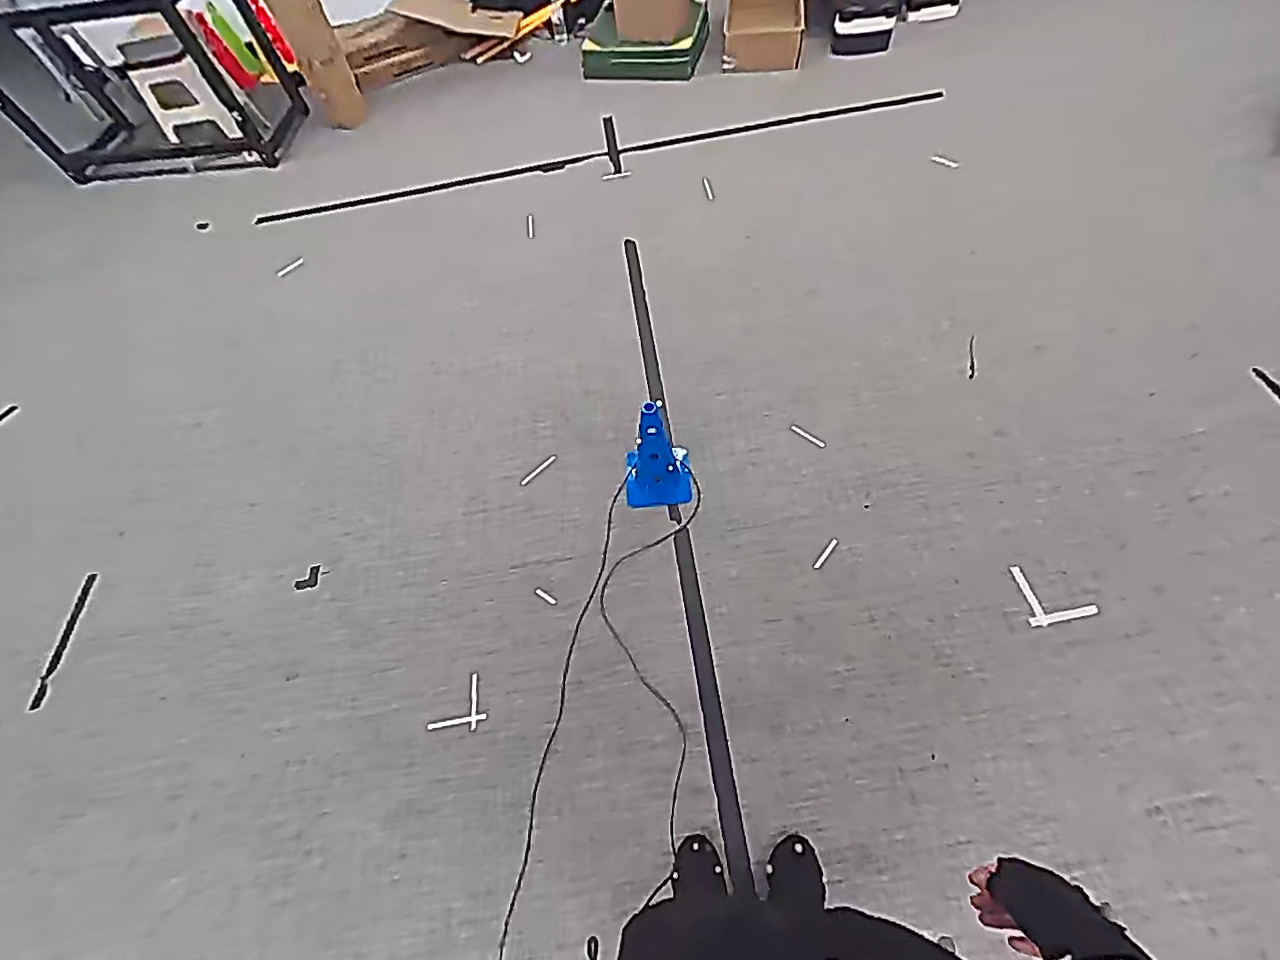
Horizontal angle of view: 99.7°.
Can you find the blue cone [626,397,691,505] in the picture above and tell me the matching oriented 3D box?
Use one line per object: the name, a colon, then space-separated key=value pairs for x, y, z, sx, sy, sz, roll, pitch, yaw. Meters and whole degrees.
blue cone: x=0.039 y=-0.093 z=1.511 sx=0.193 sy=0.380 sz=0.192 roll=-7 pitch=60 yaw=3
